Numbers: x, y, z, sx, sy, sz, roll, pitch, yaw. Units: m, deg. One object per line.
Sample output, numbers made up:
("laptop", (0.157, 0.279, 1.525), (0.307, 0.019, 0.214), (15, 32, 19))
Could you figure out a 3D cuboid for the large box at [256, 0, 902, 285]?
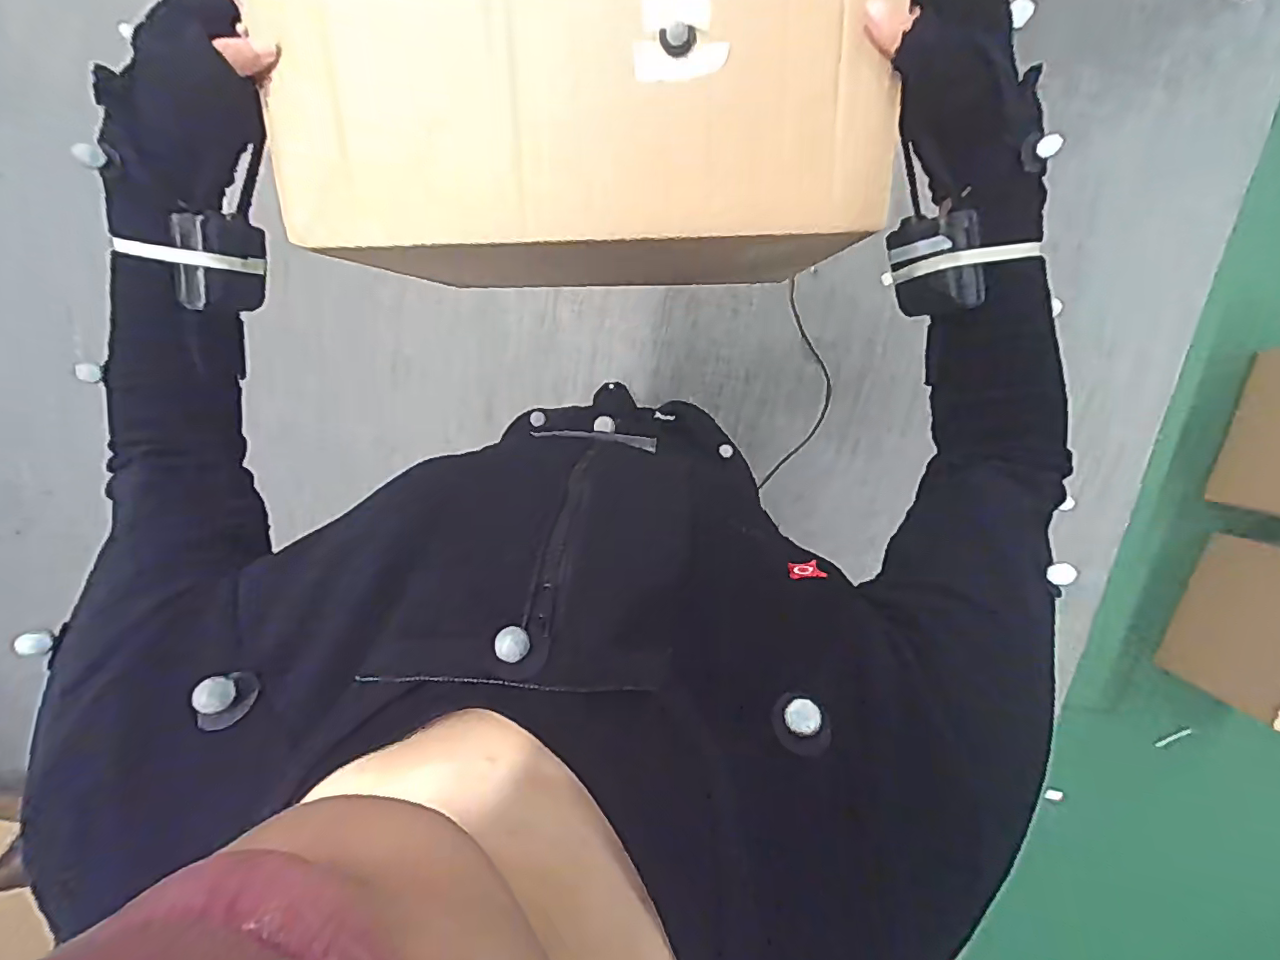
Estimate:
("large box", (-0.038, -0.354, 0.469), (0.408, 0.320, 0.320), (-1, 105, 1))
